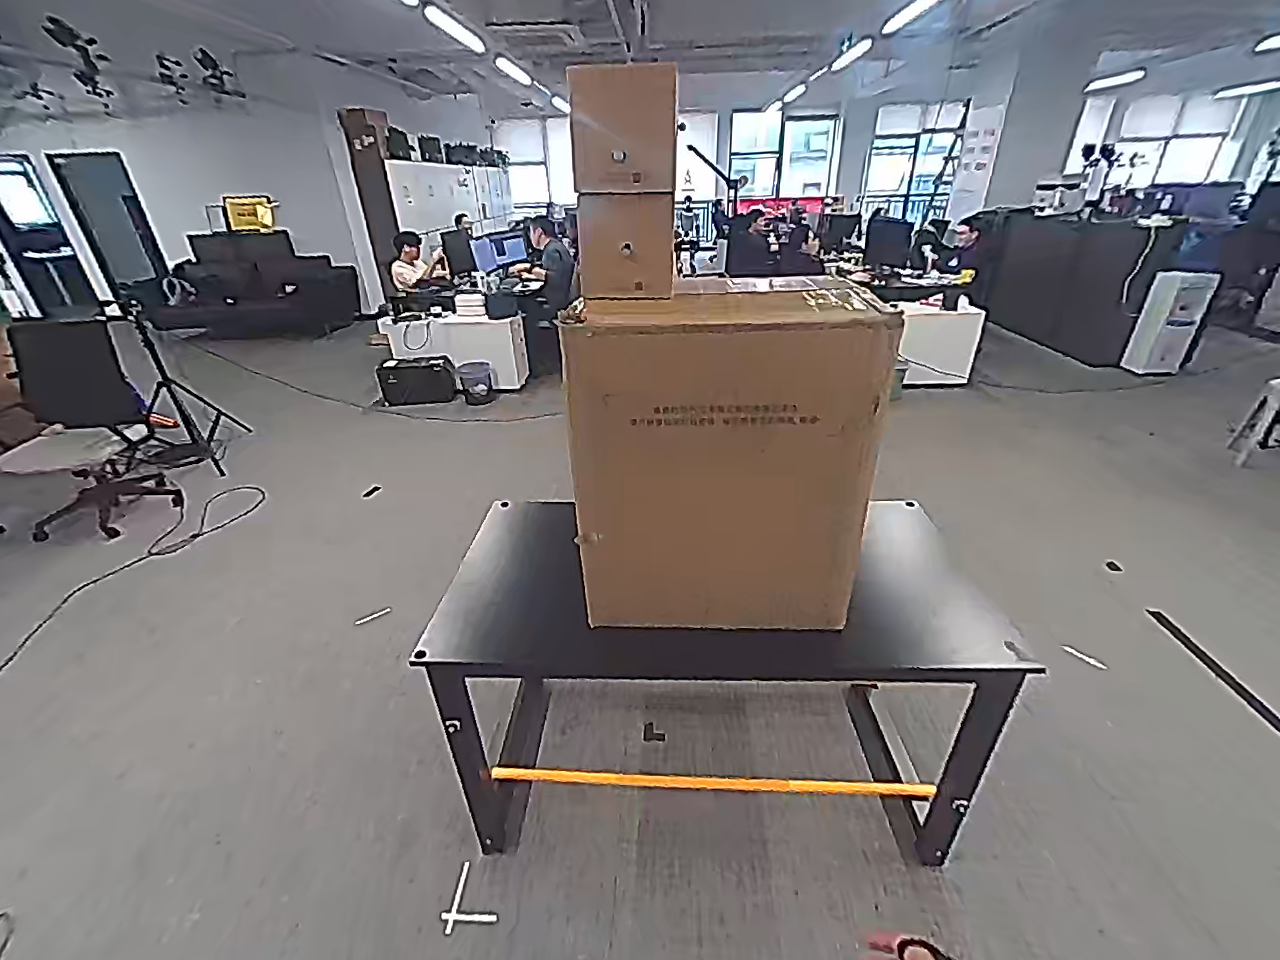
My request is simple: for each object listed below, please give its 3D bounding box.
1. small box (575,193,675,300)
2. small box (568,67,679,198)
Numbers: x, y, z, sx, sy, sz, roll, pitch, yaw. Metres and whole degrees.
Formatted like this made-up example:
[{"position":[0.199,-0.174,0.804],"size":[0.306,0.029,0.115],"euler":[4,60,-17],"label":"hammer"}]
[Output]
[{"position":[-0.019,-0.432,0.996],"size":[0.168,0.176,0.179],"euler":[1,29,3],"label":"small box"},{"position":[-0.020,-0.570,0.903],"size":[0.168,0.176,0.179],"euler":[1,29,4],"label":"small box"}]
